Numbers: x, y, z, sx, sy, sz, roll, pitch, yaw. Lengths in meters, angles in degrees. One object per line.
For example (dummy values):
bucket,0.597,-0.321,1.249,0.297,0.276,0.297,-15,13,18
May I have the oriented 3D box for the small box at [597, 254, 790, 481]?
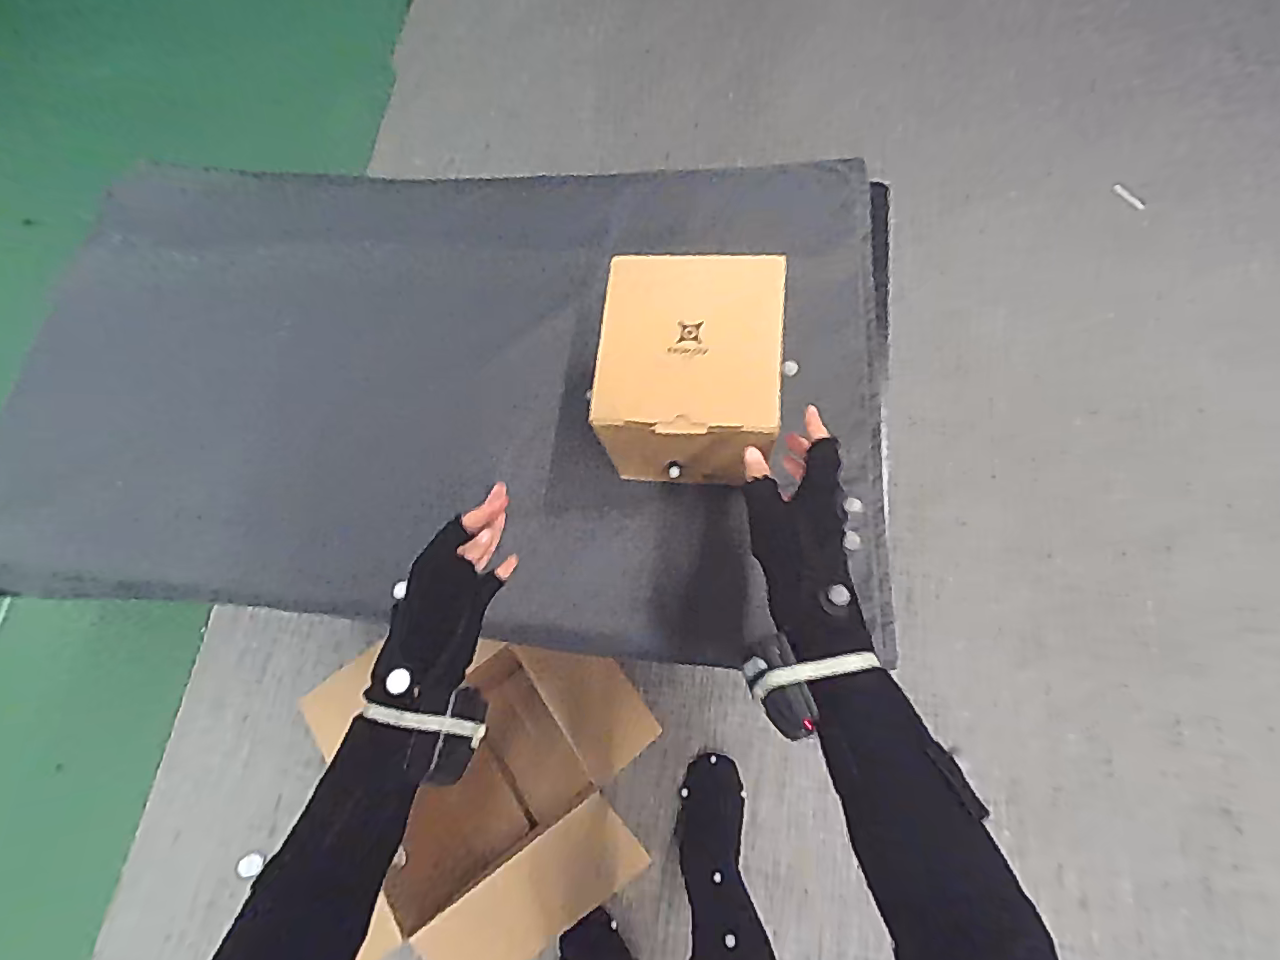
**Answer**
small box,0.060,-0.109,0.566,0.168,0.176,0.179,3,75,9
